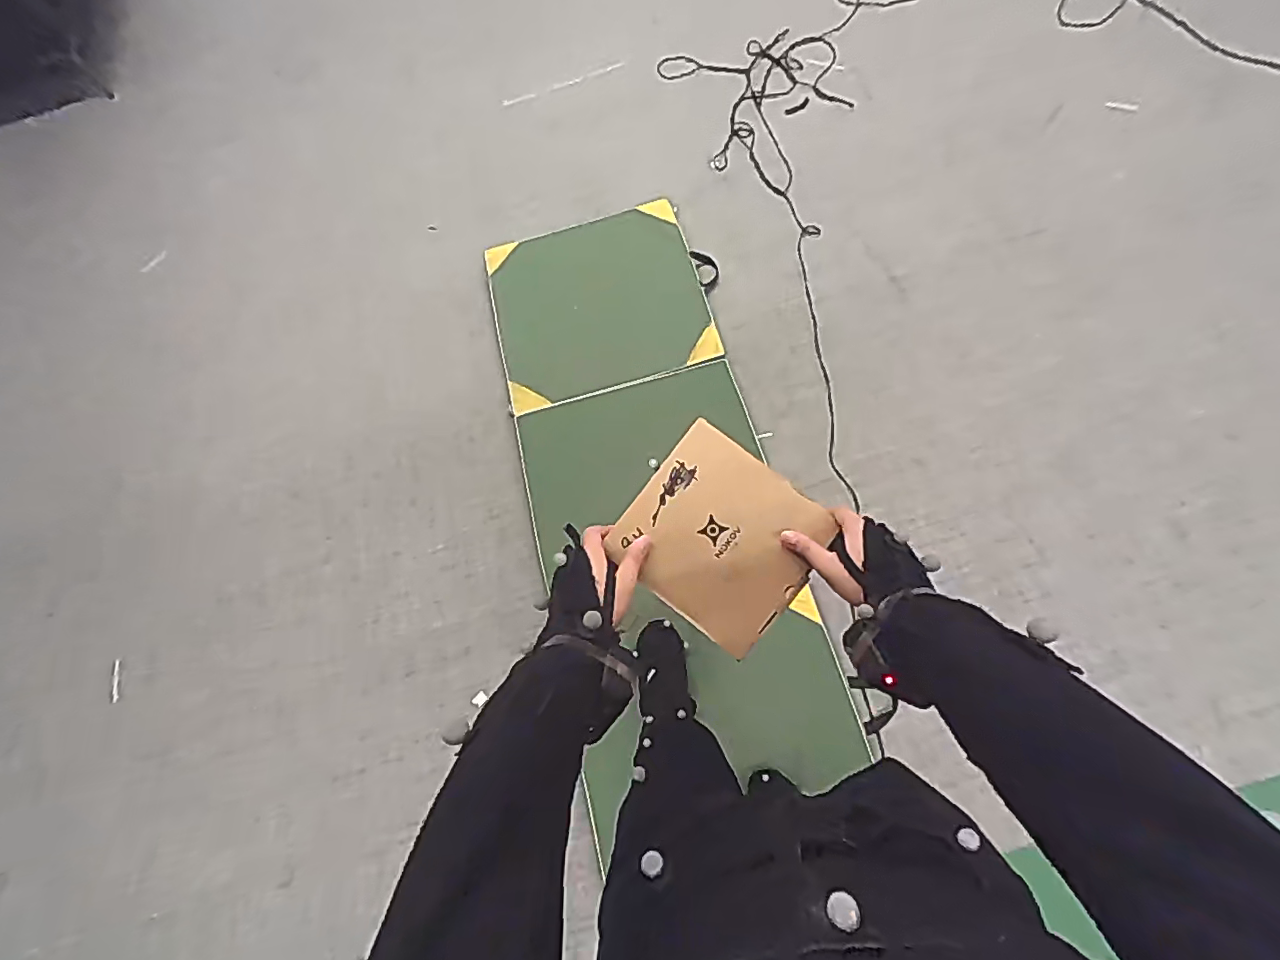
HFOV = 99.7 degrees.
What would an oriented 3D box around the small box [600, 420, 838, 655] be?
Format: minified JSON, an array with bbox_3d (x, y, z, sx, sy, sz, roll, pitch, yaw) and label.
[{"bbox_3d":[0.082,0.060,0.606,0.179,0.176,0.168,39,88,7],"label":"small box"}]
